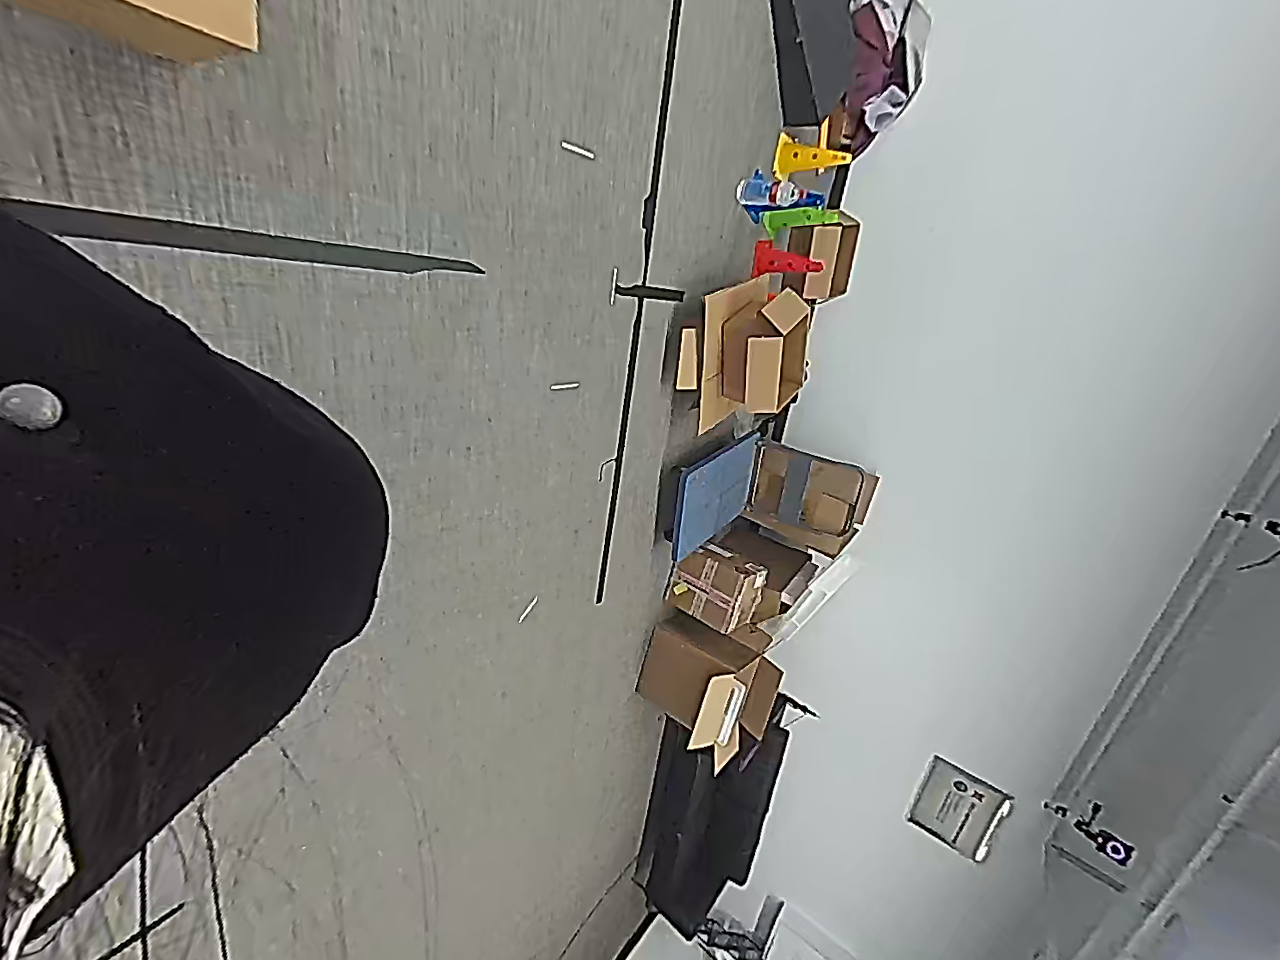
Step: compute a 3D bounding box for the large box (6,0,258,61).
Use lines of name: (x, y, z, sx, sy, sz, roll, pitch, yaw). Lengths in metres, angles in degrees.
large box: (-0.823, -0.843, 0.735, 0.408, 0.320, 0.320, -17, 123, -53)
